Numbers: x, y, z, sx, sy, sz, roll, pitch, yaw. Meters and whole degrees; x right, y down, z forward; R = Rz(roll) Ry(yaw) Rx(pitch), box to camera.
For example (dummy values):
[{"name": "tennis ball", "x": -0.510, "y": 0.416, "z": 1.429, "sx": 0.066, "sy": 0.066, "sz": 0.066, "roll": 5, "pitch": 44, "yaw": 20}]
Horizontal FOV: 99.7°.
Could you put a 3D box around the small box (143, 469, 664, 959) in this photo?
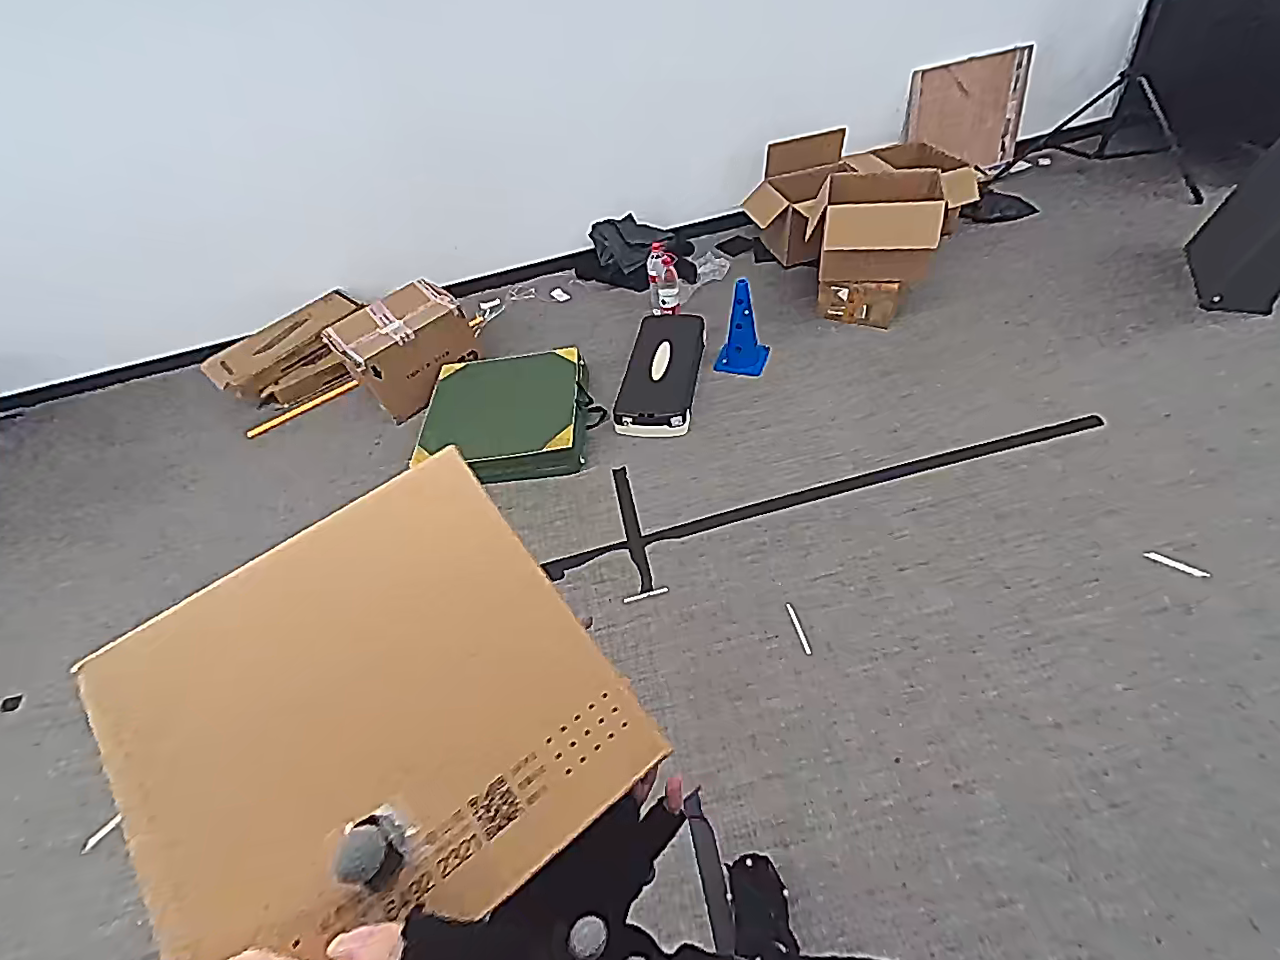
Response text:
[{"name": "small box", "x": -0.100, "y": 0.133, "z": 0.296, "sx": 0.168, "sy": 0.179, "sz": 0.176, "roll": -35, "pitch": 69, "yaw": -16}]
